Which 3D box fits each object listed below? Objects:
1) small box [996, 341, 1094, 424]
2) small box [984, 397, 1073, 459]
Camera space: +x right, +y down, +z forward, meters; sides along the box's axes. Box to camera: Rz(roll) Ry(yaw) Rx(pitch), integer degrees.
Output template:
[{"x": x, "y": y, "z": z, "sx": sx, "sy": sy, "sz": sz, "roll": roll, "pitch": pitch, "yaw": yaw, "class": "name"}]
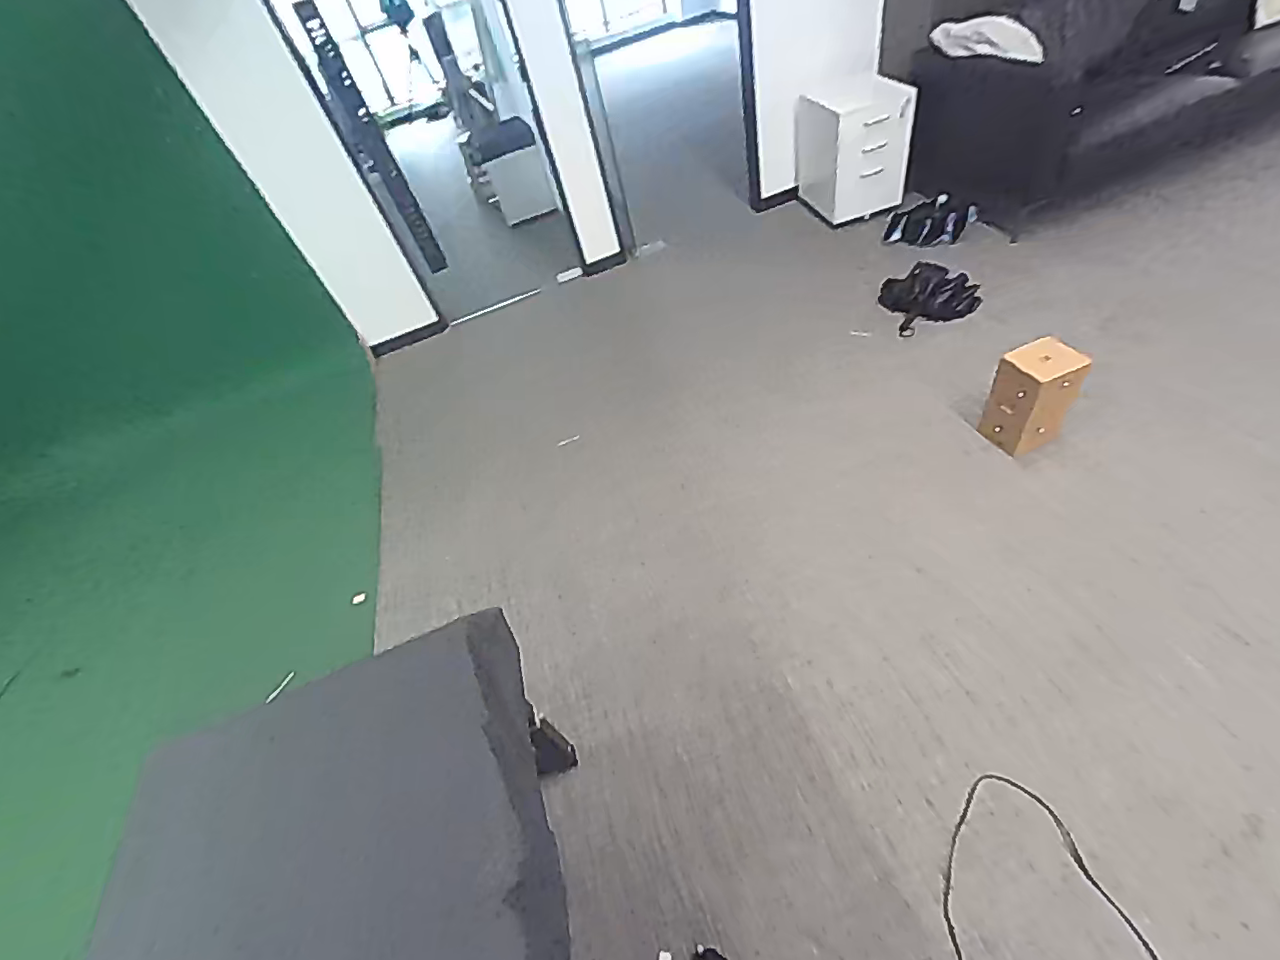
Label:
[{"x": 1.277, "y": -0.307, "z": 1.725, "sx": 0.179, "sy": 0.176, "sz": 0.168, "roll": -22, "pitch": 47, "yaw": -6, "class": "small box"}, {"x": 1.310, "y": -0.199, "z": 1.842, "sx": 0.179, "sy": 0.176, "sz": 0.168, "roll": -23, "pitch": 46, "yaw": -5, "class": "small box"}]
